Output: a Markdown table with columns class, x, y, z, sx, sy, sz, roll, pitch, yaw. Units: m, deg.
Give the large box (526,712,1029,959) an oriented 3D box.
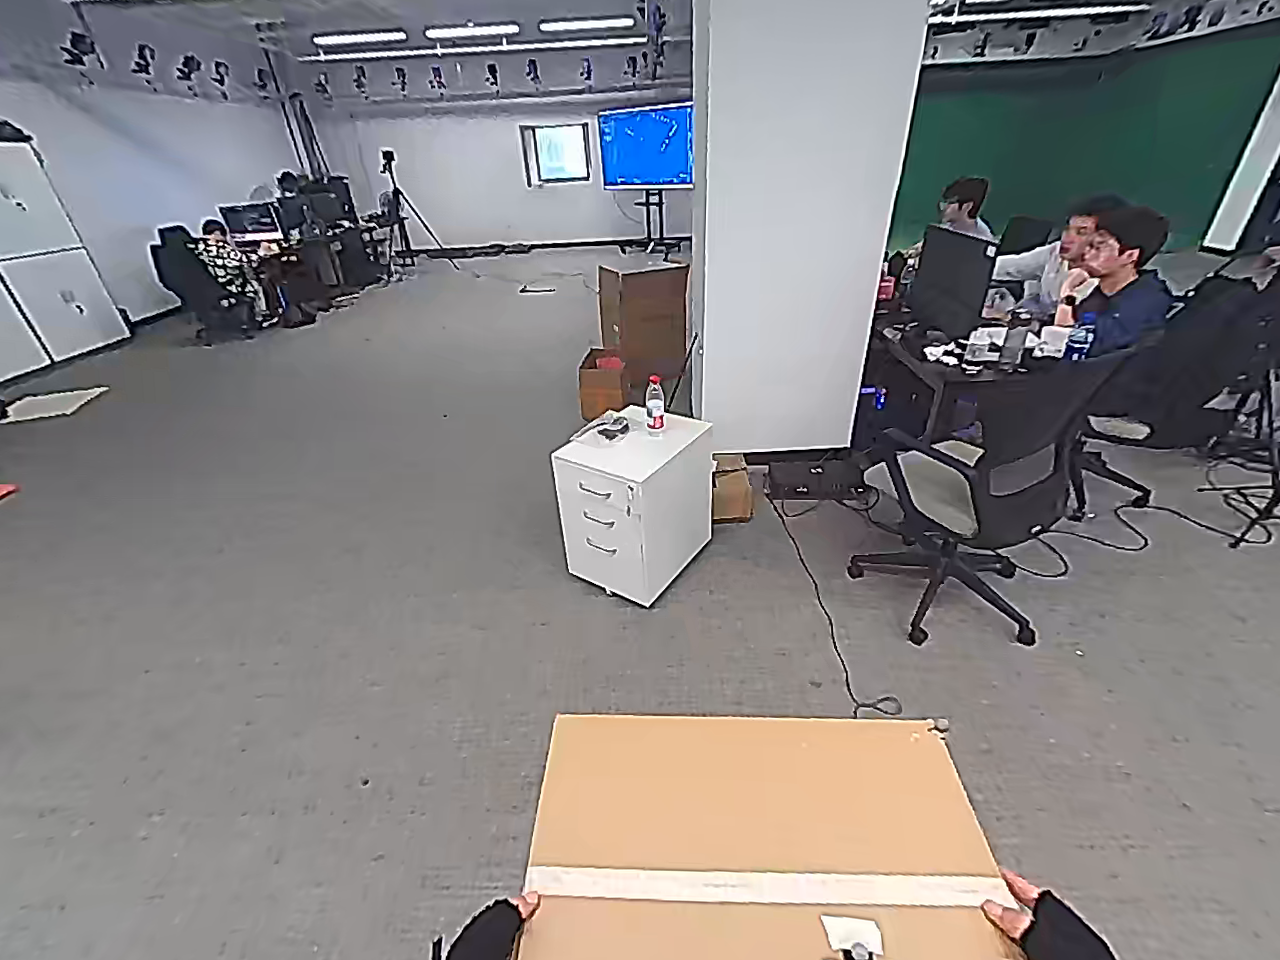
| class | x | y | z | sx | sy | sz | roll | pitch | yaw |
| --- | --- | --- | --- | --- | --- | --- | --- | --- | --- |
| large box | 0.112 | 0.469 | 0.557 | 0.408 | 0.320 | 0.320 | 0 | 35 | 3 |
